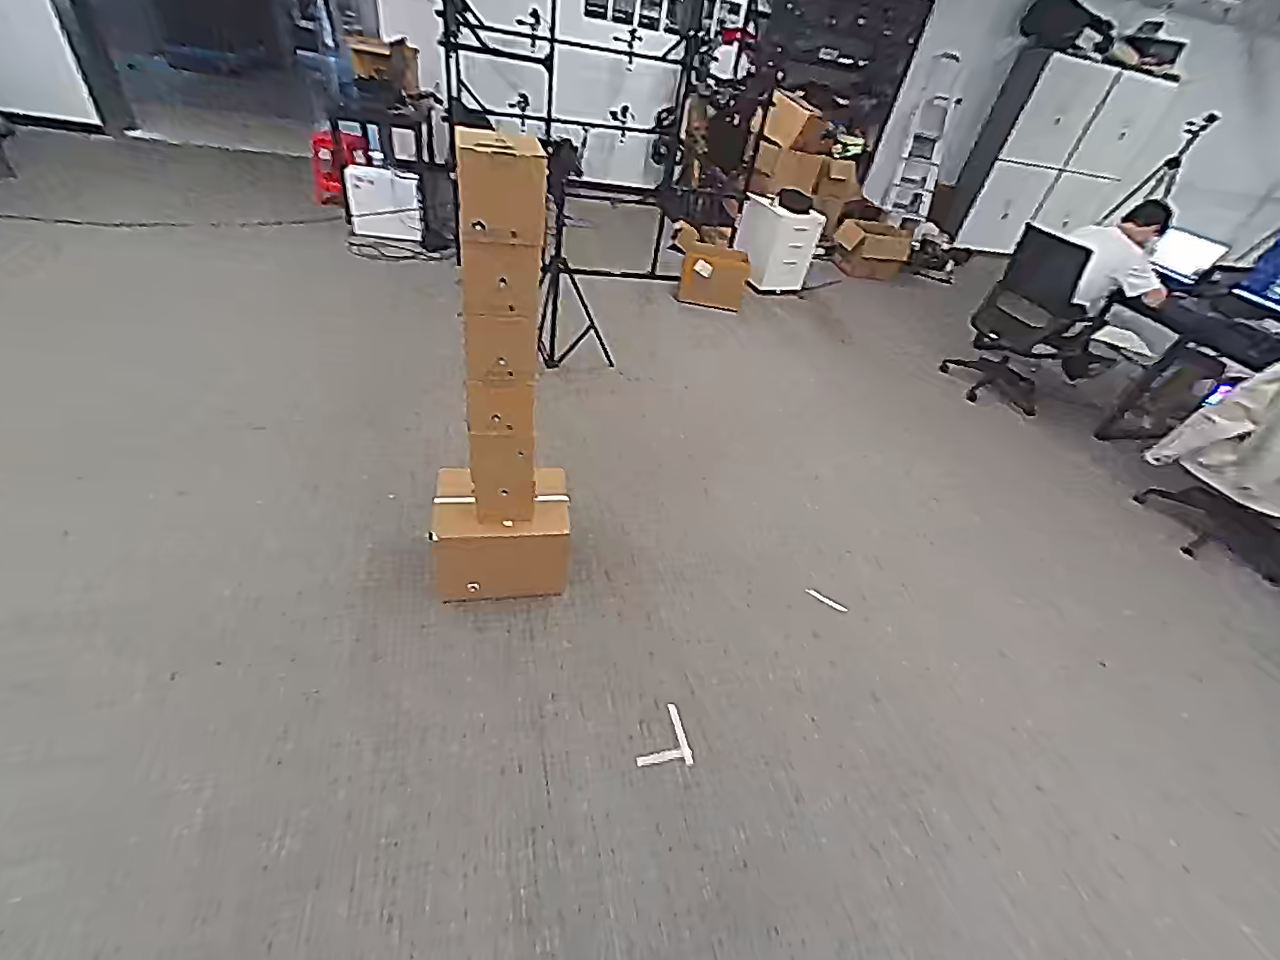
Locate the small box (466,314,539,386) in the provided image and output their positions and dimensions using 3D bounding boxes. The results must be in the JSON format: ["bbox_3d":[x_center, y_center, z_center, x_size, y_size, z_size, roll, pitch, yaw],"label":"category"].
[{"bbox_3d":[-0.343,-0.350,1.337,0.168,0.176,0.179,-3,44,-16],"label":"small box"}]

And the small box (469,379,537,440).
[{"bbox_3d":[-0.367,-0.225,1.441,0.168,0.176,0.179,-2,43,-16],"label":"small box"}]

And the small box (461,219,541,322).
[{"bbox_3d":[-0.318,-0.475,1.235,0.168,0.176,0.179,-3,44,-17],"label":"small box"}]

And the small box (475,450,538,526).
[{"bbox_3d":[-0.407,0.026,1.646,0.179,0.176,0.168,-2,43,-17],"label":"small box"}]

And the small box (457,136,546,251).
[{"bbox_3d":[-0.287,-0.591,1.121,0.168,0.176,0.179,-3,43,-17],"label":"small box"}]
